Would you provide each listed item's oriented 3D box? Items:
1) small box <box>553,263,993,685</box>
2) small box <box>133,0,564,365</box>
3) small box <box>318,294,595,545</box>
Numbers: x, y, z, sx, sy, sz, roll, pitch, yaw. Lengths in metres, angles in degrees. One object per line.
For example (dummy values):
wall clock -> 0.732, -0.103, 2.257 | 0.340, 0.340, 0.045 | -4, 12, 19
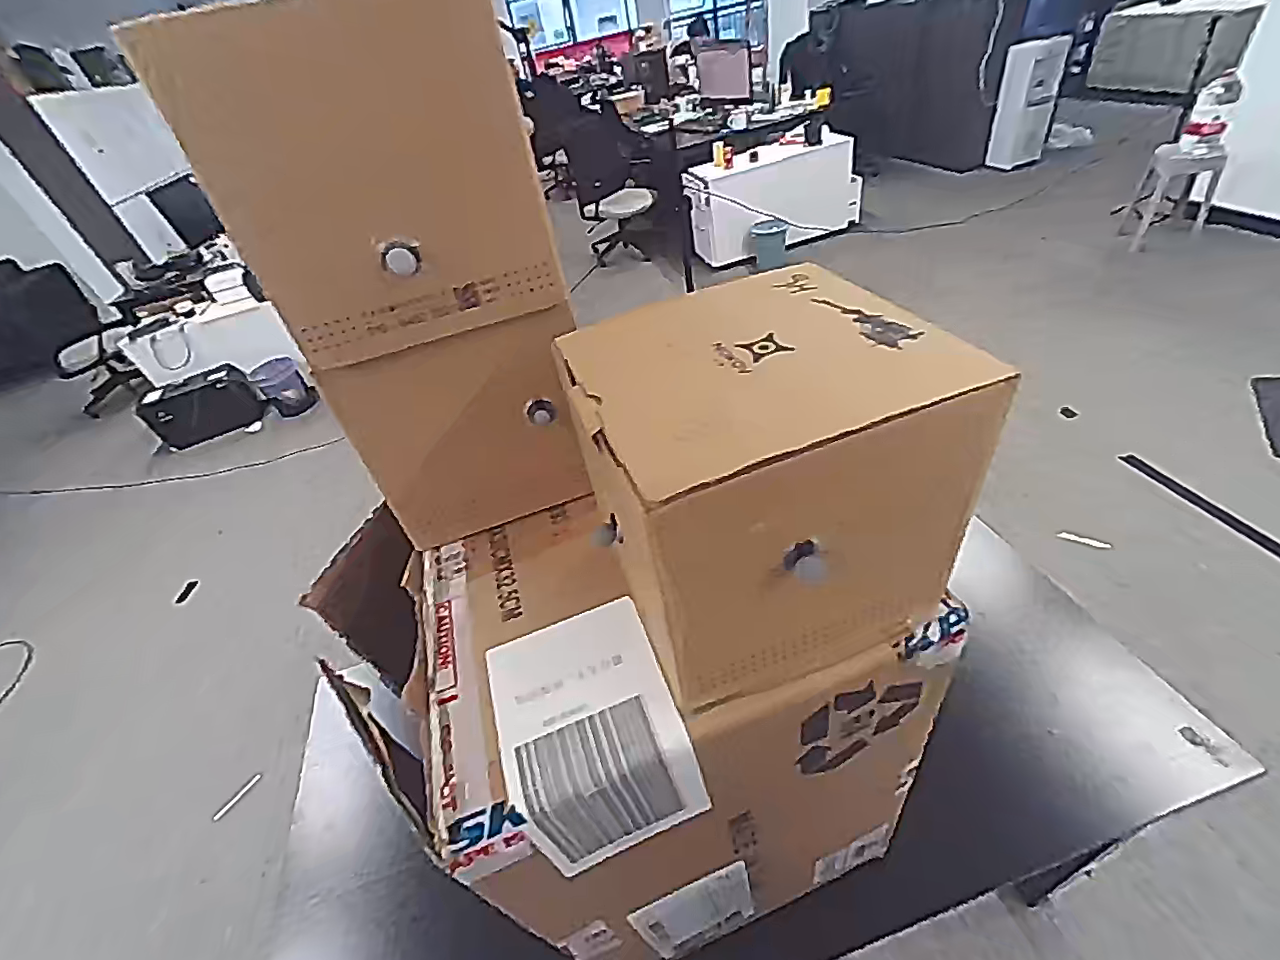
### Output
small box -> 0.066, -0.005, 0.336 | 0.179, 0.176, 0.168 | -20, 43, -8
small box -> -0.162, -0.199, 0.365 | 0.168, 0.176, 0.179 | -19, 39, -8
small box -> -0.138, -0.075, 0.471 | 0.179, 0.176, 0.168 | -20, 38, -8
